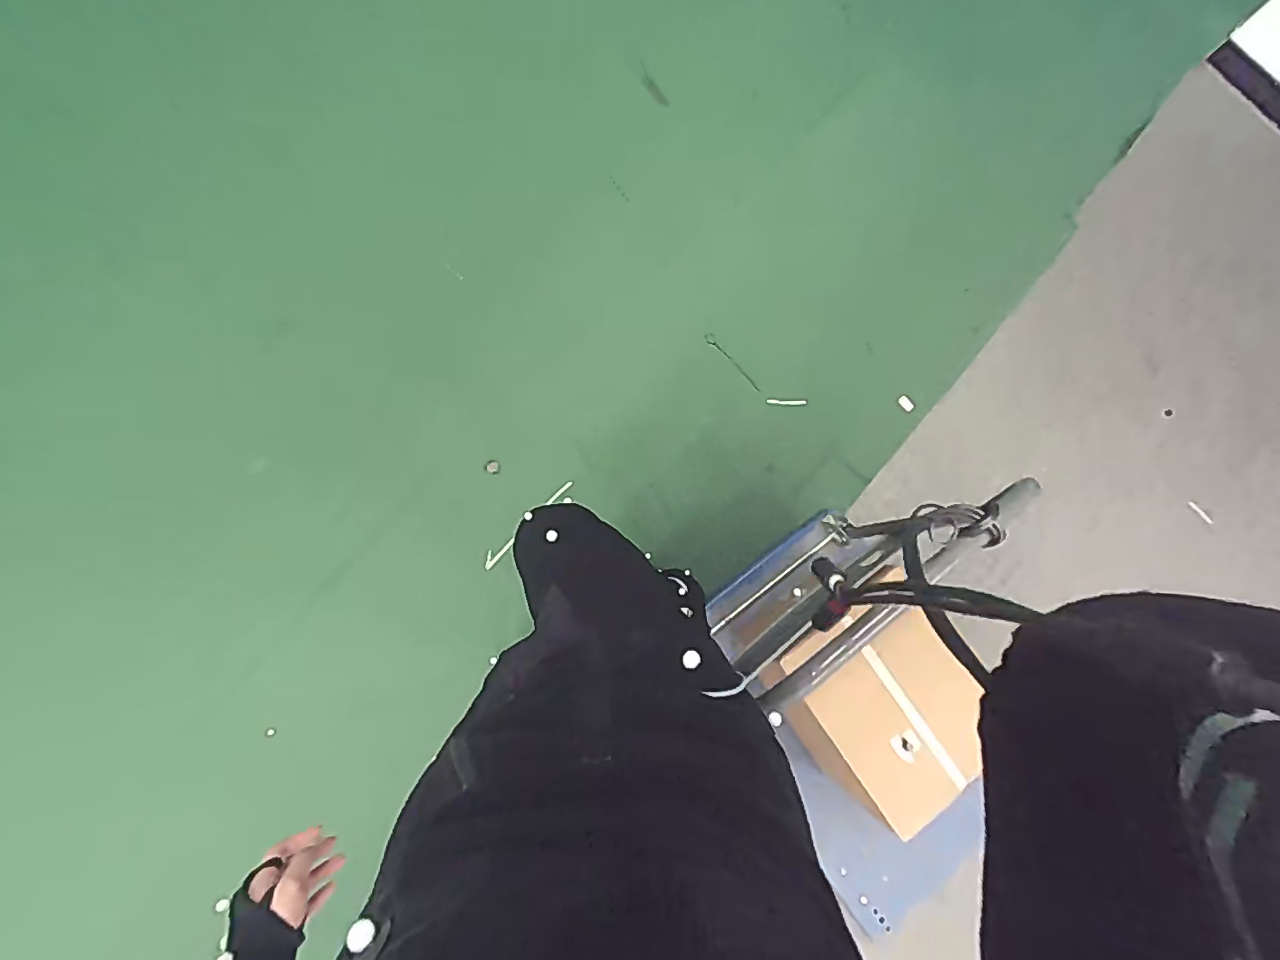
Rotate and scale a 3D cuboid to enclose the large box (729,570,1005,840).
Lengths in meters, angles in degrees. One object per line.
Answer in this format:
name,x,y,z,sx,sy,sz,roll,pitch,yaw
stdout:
large box,0.465,0.449,1.187,0.320,0.320,0.408,-33,88,-11
